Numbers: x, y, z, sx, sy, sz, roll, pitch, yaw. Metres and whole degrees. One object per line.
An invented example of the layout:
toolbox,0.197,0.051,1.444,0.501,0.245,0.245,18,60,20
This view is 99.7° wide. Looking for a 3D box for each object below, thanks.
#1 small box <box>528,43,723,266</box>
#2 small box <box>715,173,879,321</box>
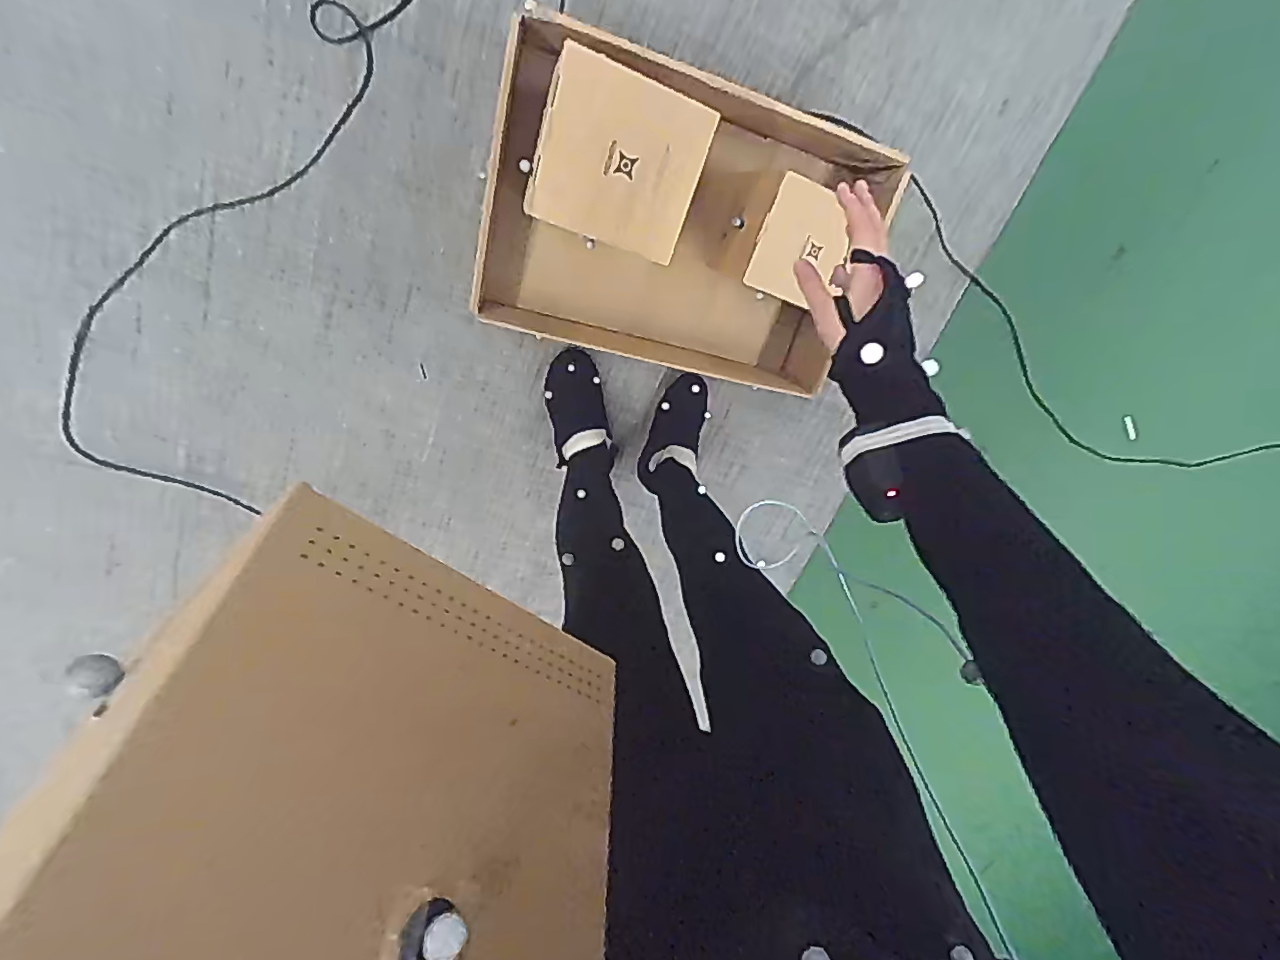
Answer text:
small box,-0.031,-0.379,0.659,0.179,0.176,0.168,14,114,-20
small box,0.248,-0.385,0.904,0.179,0.176,0.168,15,112,-19
